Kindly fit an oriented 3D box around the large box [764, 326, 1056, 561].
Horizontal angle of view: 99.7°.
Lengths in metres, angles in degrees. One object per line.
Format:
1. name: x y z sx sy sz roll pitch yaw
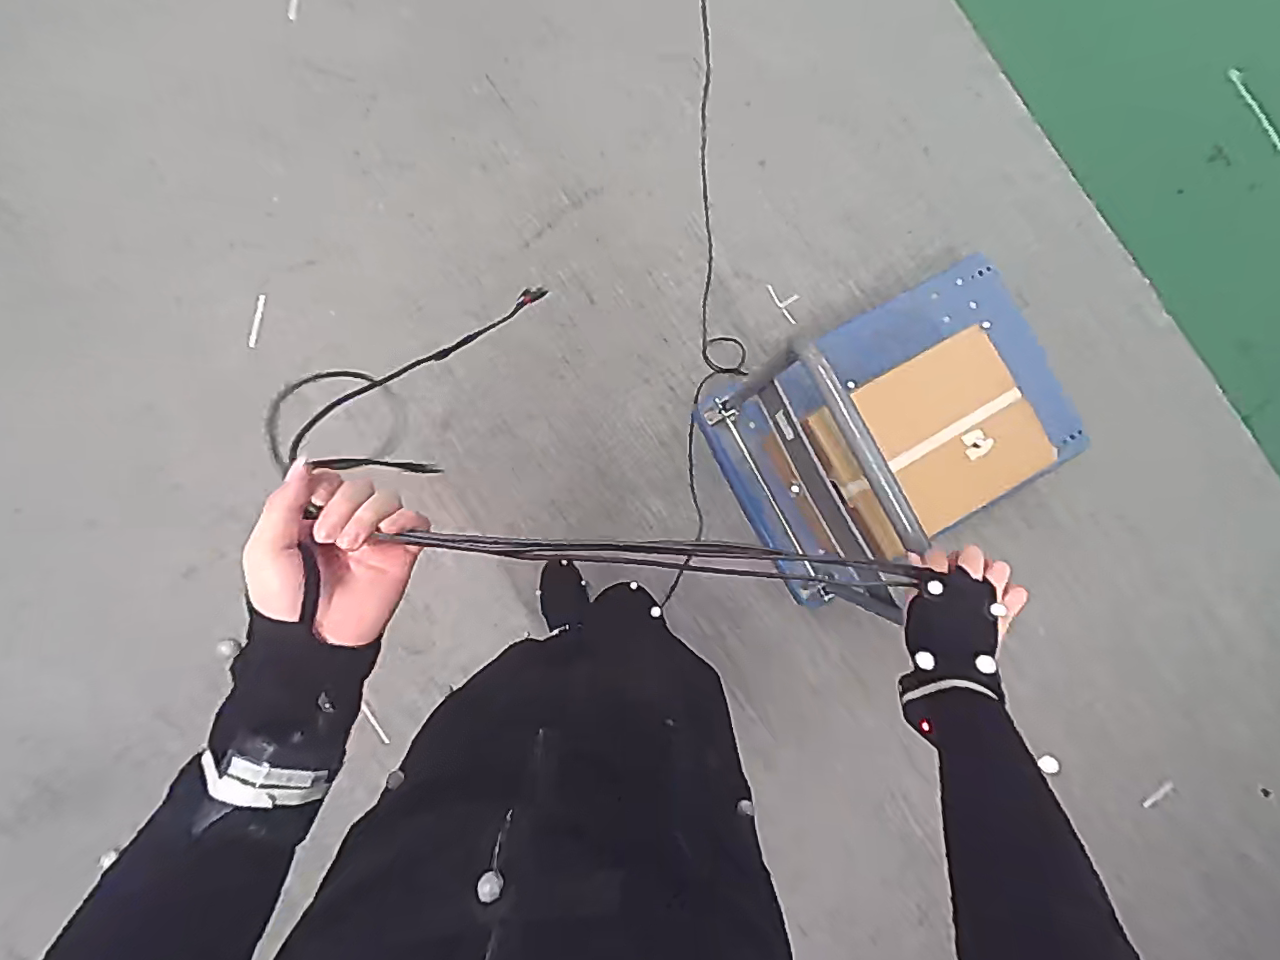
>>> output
1. large box: 0.549 -0.061 1.176 0.408 0.320 0.320 -29 89 -6
